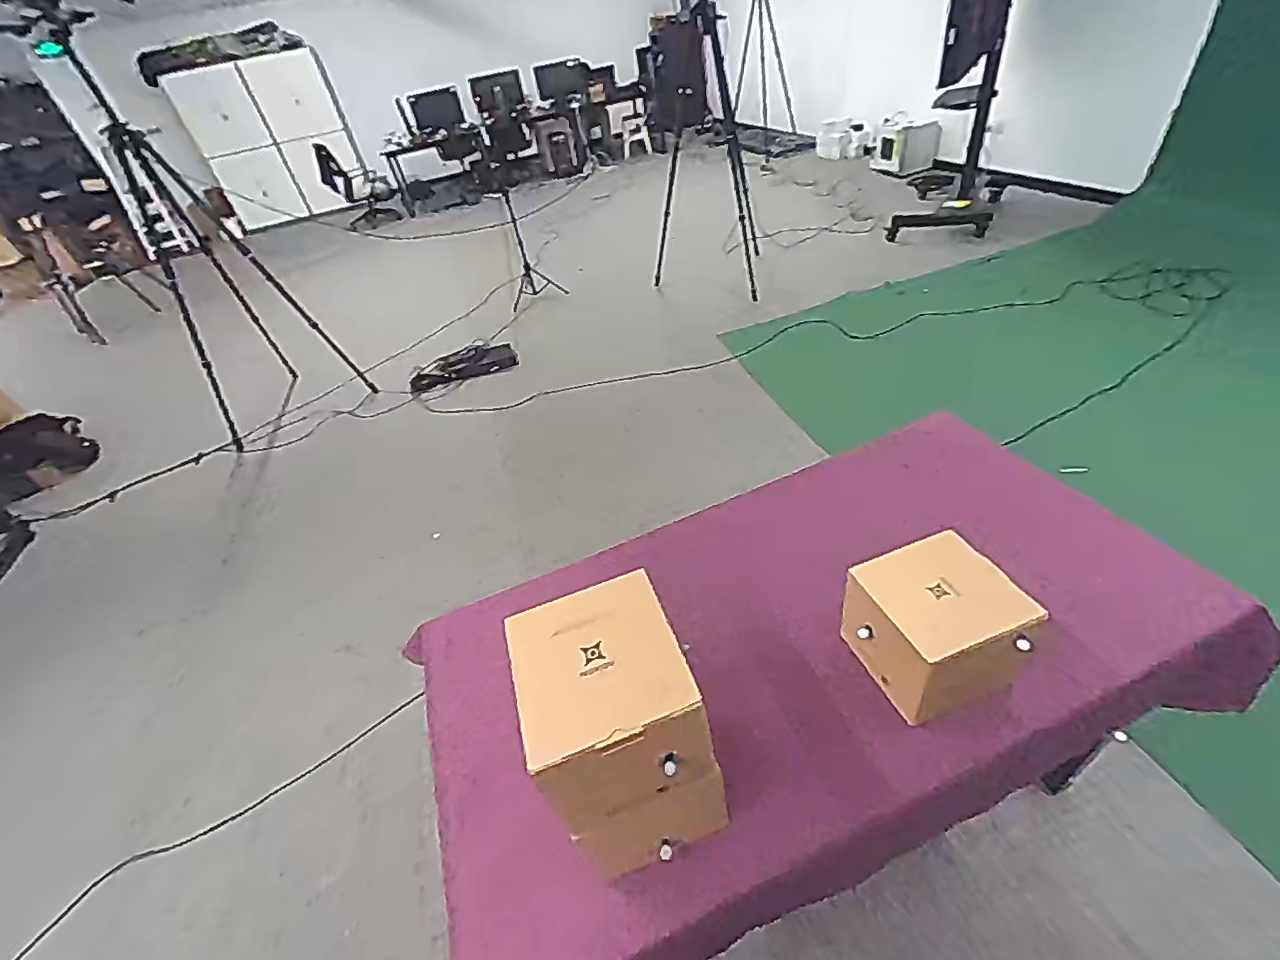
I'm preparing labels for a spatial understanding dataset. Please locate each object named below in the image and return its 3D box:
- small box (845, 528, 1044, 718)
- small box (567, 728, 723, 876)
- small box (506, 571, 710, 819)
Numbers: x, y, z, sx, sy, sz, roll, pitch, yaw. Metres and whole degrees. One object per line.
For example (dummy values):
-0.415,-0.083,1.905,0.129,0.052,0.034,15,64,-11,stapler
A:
0.412,0.204,0.768,0.179,0.176,0.168,-19,40,-8,small box
-0.004,0.364,0.693,0.179,0.176,0.168,-20,40,-9,small box
-0.033,0.238,0.591,0.168,0.176,0.179,-19,40,-7,small box
